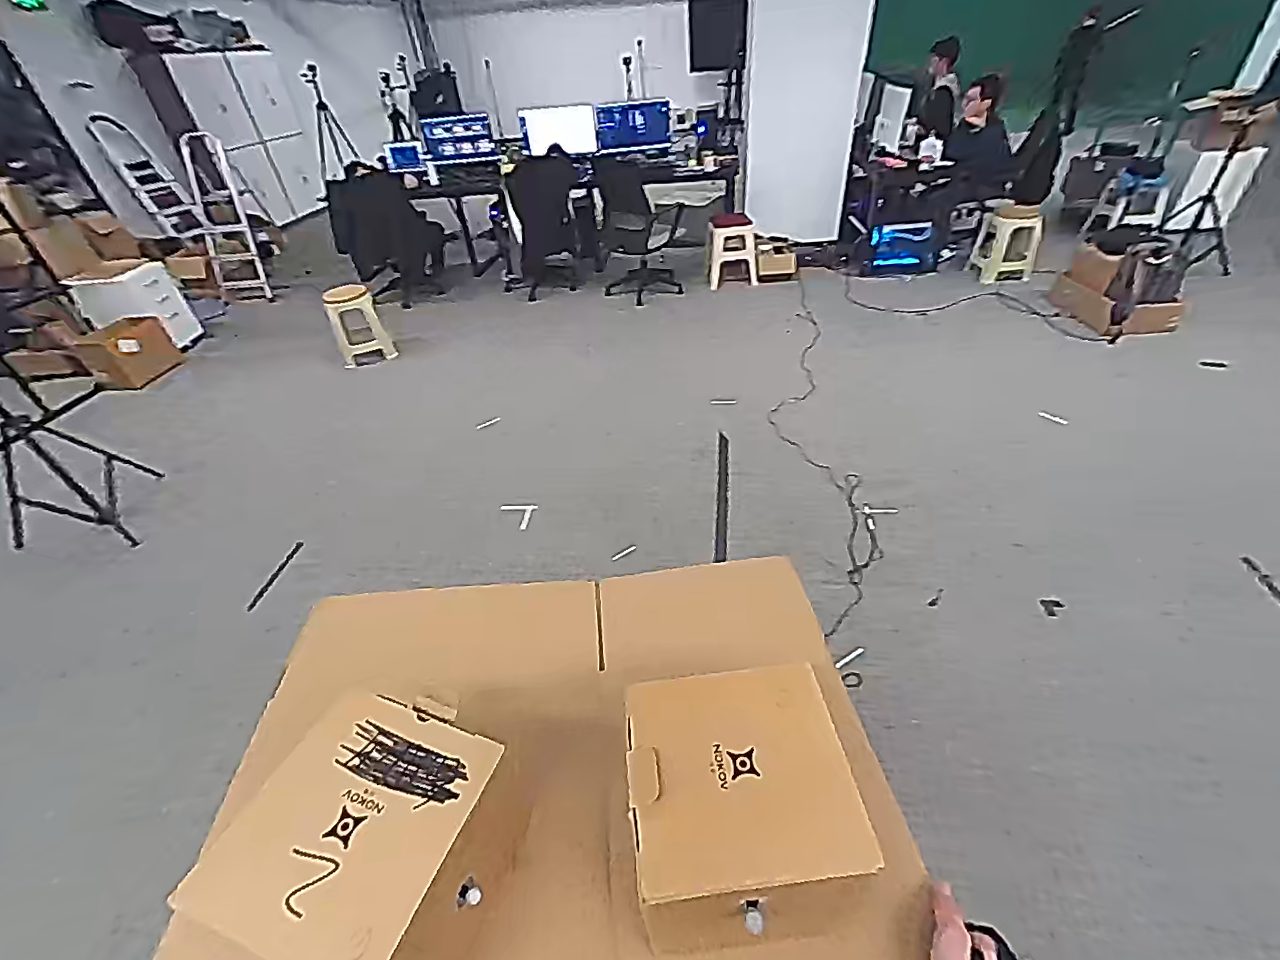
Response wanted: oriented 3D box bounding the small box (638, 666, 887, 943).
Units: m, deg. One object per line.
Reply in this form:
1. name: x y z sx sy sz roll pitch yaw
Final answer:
1. small box: 0.095 0.299 0.502 0.179 0.176 0.168 -7 38 -1
